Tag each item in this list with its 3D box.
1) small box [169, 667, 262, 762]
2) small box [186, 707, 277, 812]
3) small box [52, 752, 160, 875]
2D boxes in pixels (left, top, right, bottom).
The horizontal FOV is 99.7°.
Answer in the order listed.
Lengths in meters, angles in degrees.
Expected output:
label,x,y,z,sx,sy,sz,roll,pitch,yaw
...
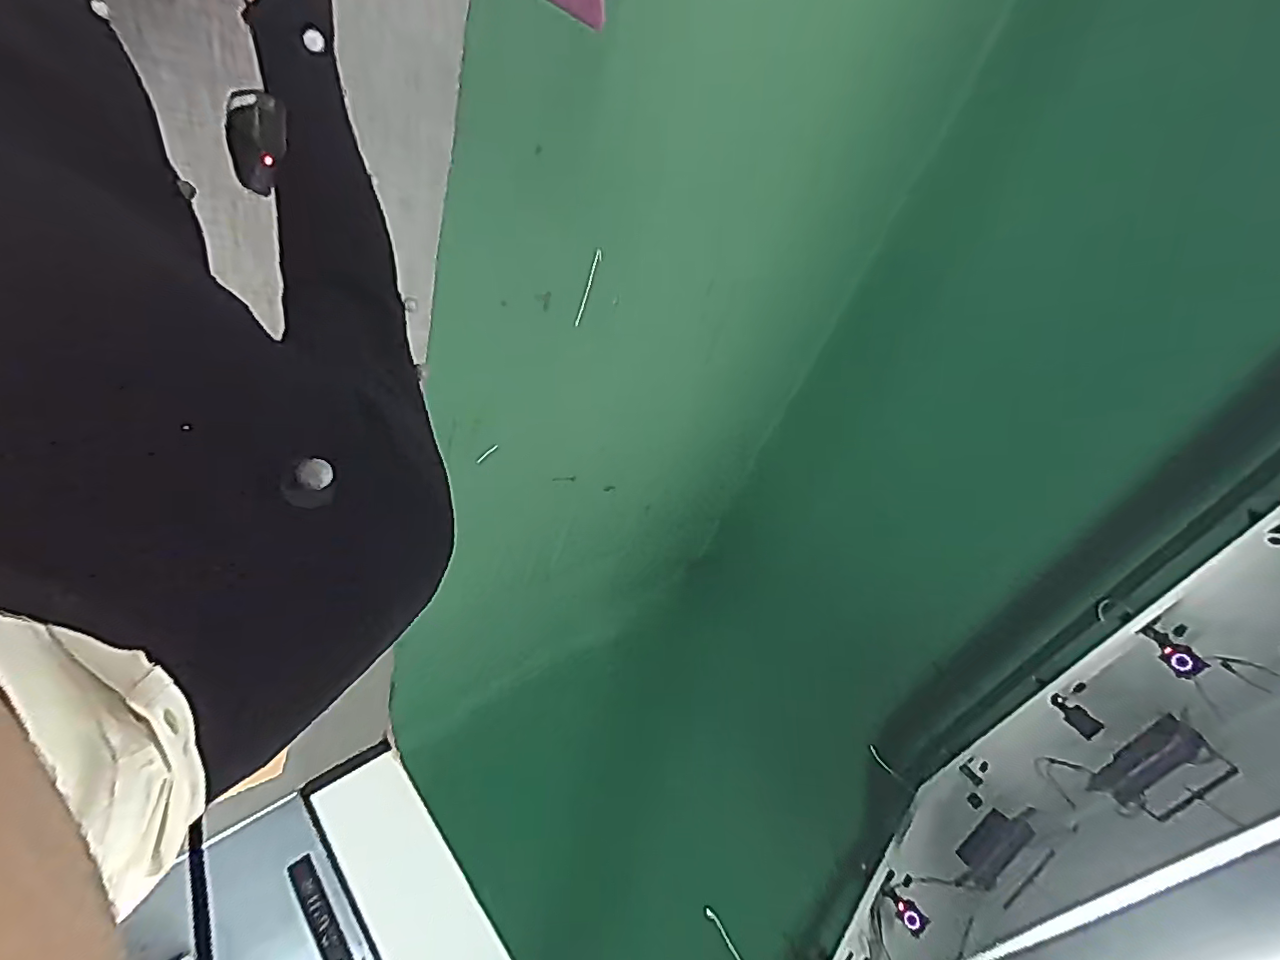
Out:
label,x,y,z,sx,sy,sz,roll,pitch,yaw
small box,-1.278,0.695,1.626,0.179,0.176,0.168,-8,133,-52
small box,-1.172,0.790,1.546,0.168,0.176,0.179,-7,132,-52
small box,-1.325,0.813,1.341,0.168,0.176,0.179,-9,135,-51
